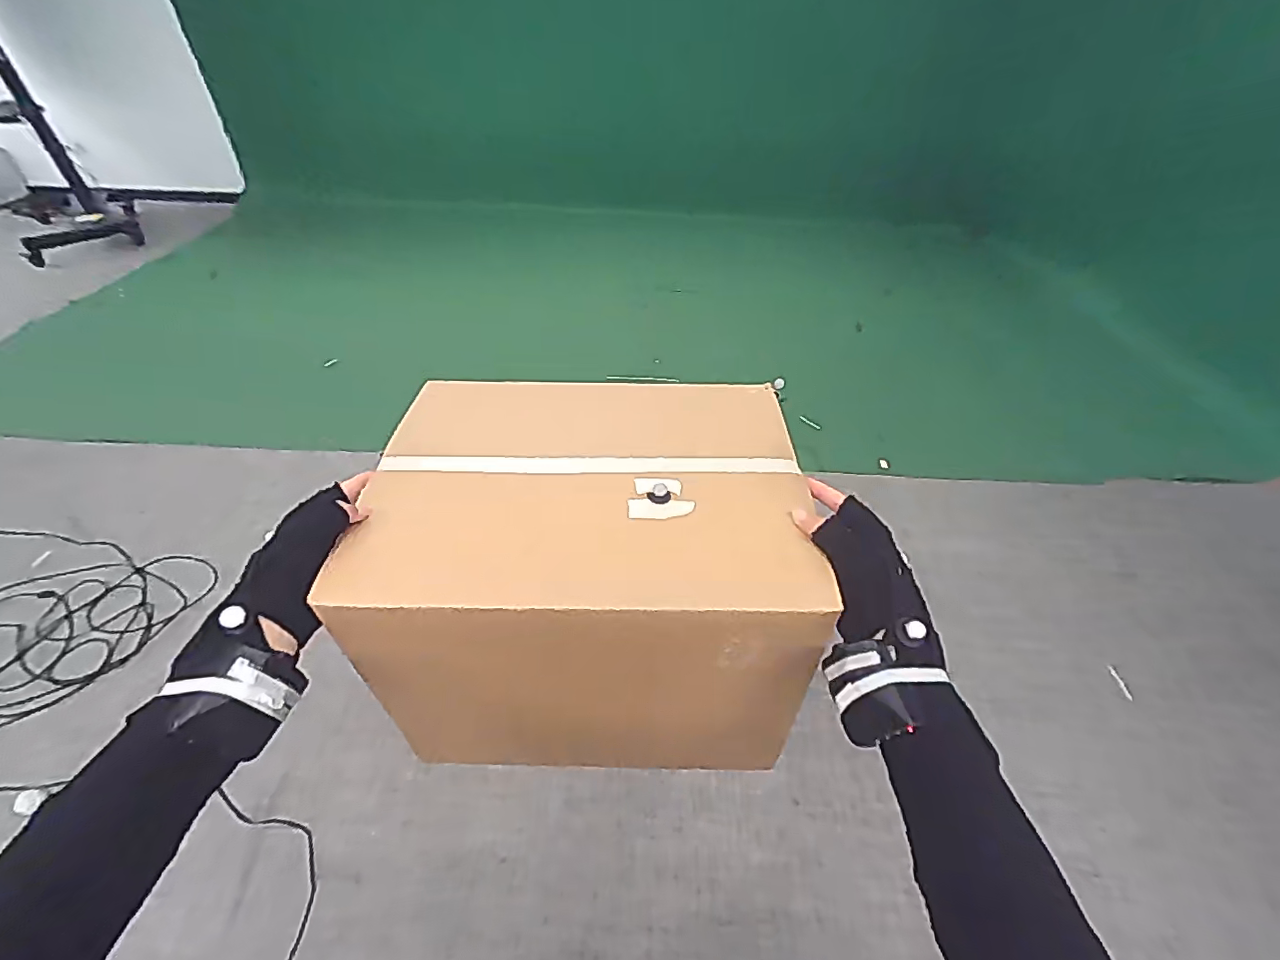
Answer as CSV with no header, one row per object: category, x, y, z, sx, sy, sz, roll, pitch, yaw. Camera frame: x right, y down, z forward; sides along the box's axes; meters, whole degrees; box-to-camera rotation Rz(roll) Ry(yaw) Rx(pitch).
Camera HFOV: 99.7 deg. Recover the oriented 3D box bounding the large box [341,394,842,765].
large box,-0.041,0.112,0.630,0.408,0.320,0.320,1,42,-1
